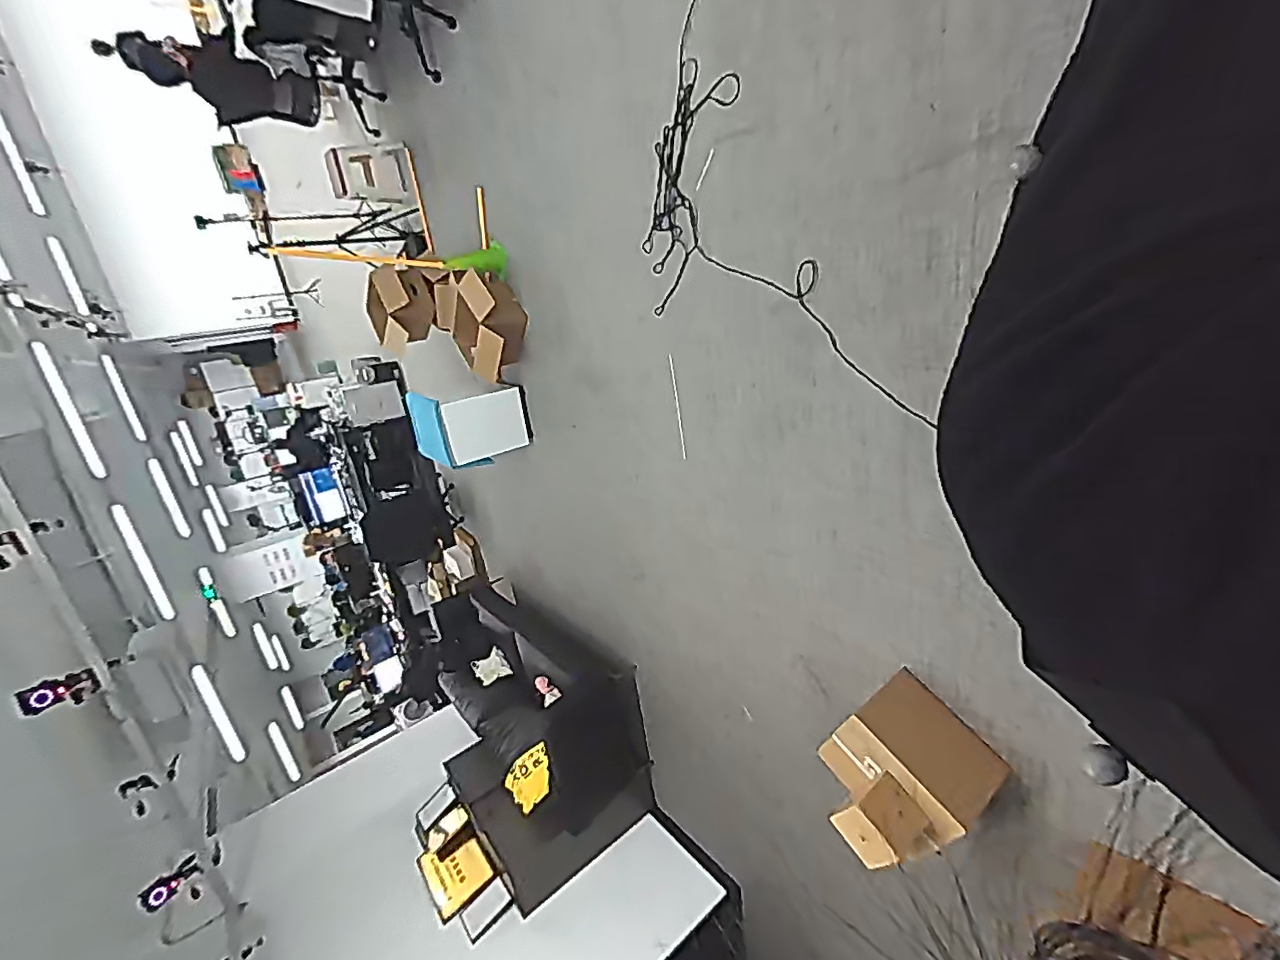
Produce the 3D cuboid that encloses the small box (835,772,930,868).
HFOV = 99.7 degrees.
[{"bbox_3d":[0.735,1.026,1.637,0.168,0.176,0.179,49,143,28],"label":"small box"}]

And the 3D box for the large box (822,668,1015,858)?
[{"bbox_3d":[0.902,0.919,1.785,0.408,0.320,0.320,47,141,32],"label":"large box"}]
